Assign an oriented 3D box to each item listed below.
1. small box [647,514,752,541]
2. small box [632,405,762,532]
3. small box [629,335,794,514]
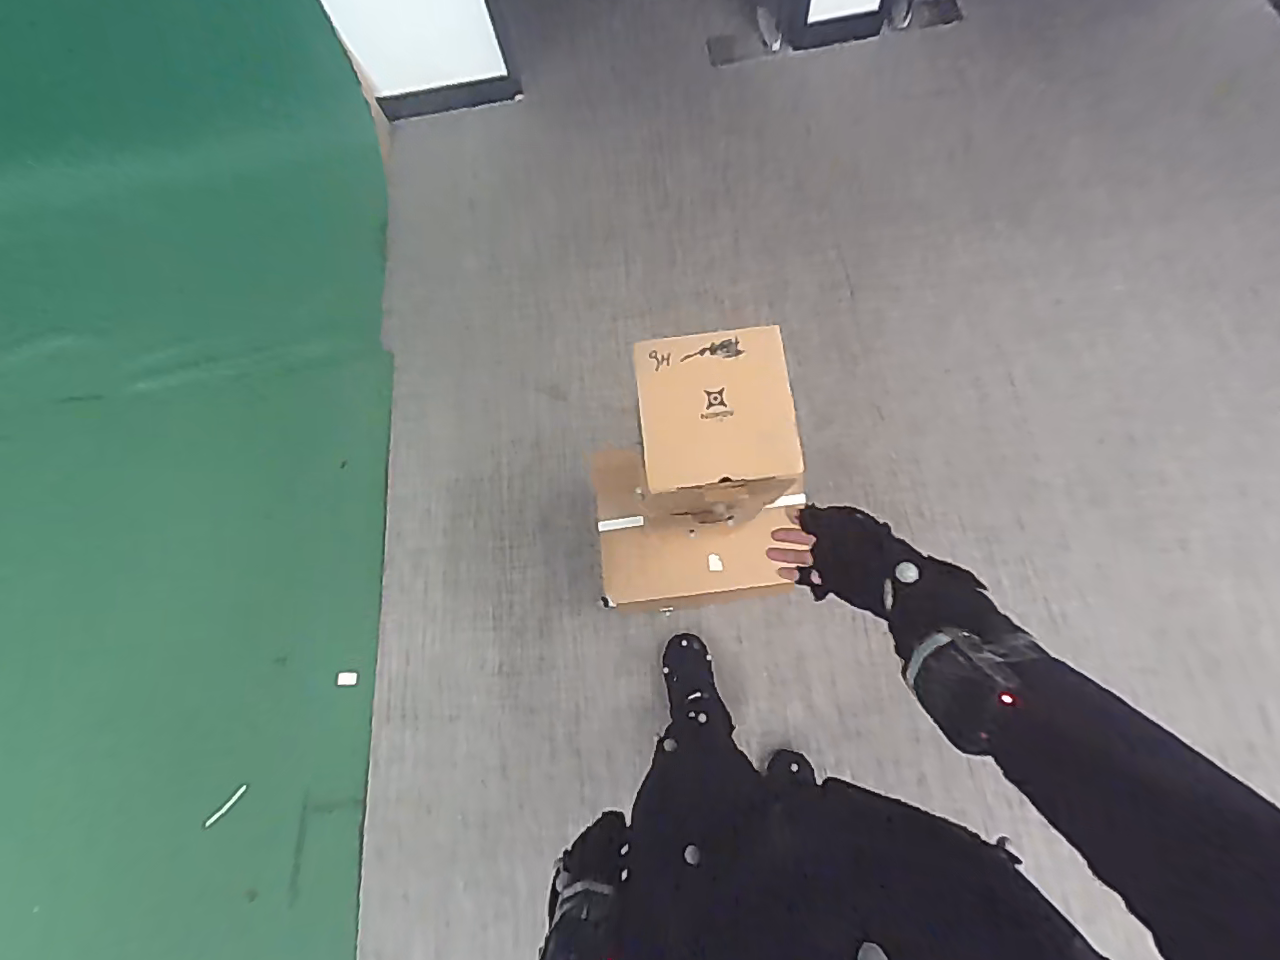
[{"bbox_3d":[0.095,0.016,0.986,0.179,0.176,0.168,-8,78,3],"label":"small box"},{"bbox_3d":[0.084,-0.018,0.829,0.168,0.176,0.179,-7,77,2],"label":"small box"},{"bbox_3d":[0.083,-0.055,0.669,0.168,0.176,0.179,-7,79,3],"label":"small box"}]
